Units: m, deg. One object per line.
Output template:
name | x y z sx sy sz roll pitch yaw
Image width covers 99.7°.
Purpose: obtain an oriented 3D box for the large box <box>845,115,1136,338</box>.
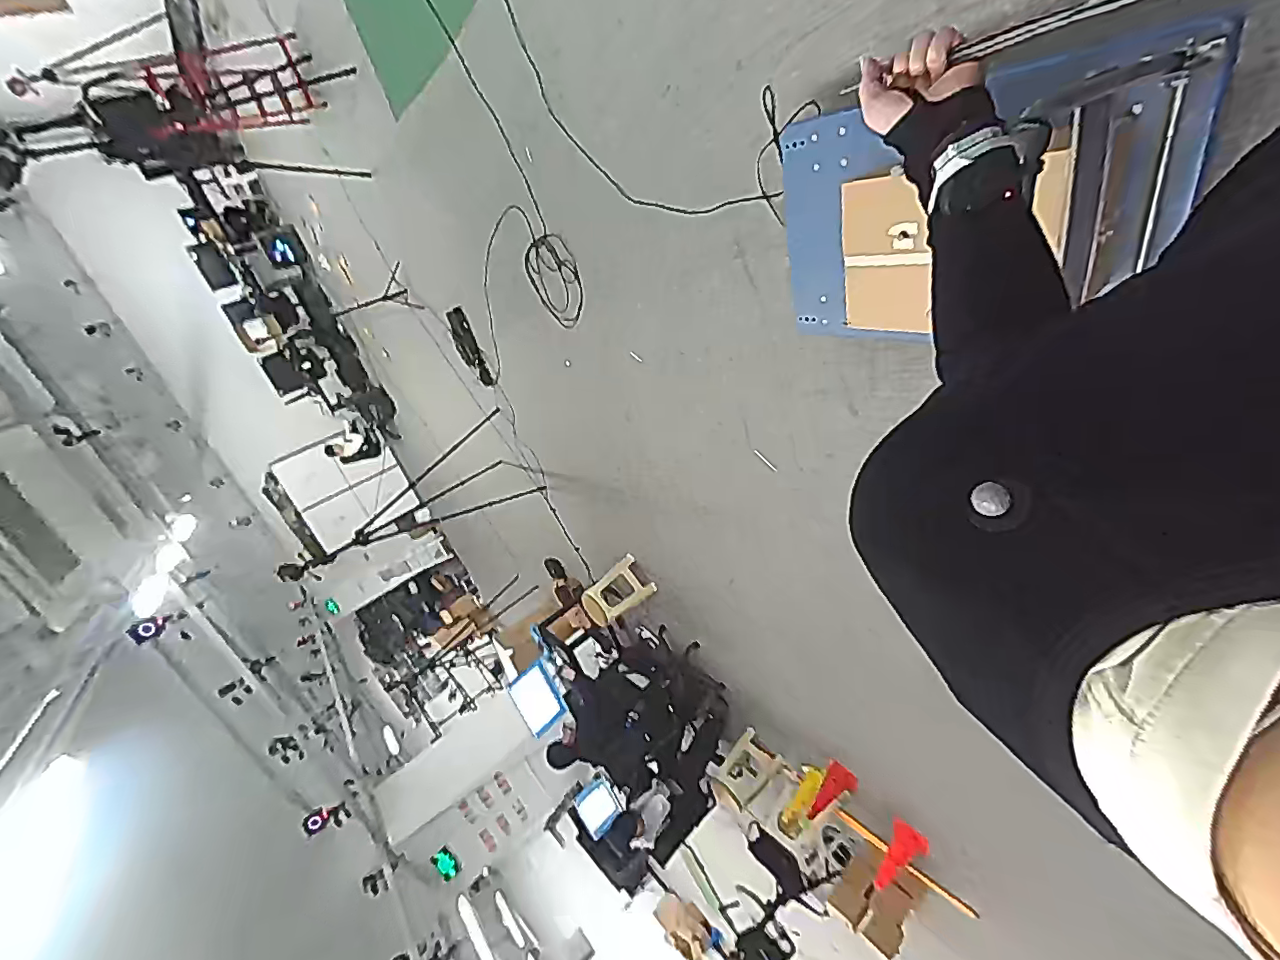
large box | 0.695 -0.506 1.114 0.408 0.320 0.320 23 137 47
